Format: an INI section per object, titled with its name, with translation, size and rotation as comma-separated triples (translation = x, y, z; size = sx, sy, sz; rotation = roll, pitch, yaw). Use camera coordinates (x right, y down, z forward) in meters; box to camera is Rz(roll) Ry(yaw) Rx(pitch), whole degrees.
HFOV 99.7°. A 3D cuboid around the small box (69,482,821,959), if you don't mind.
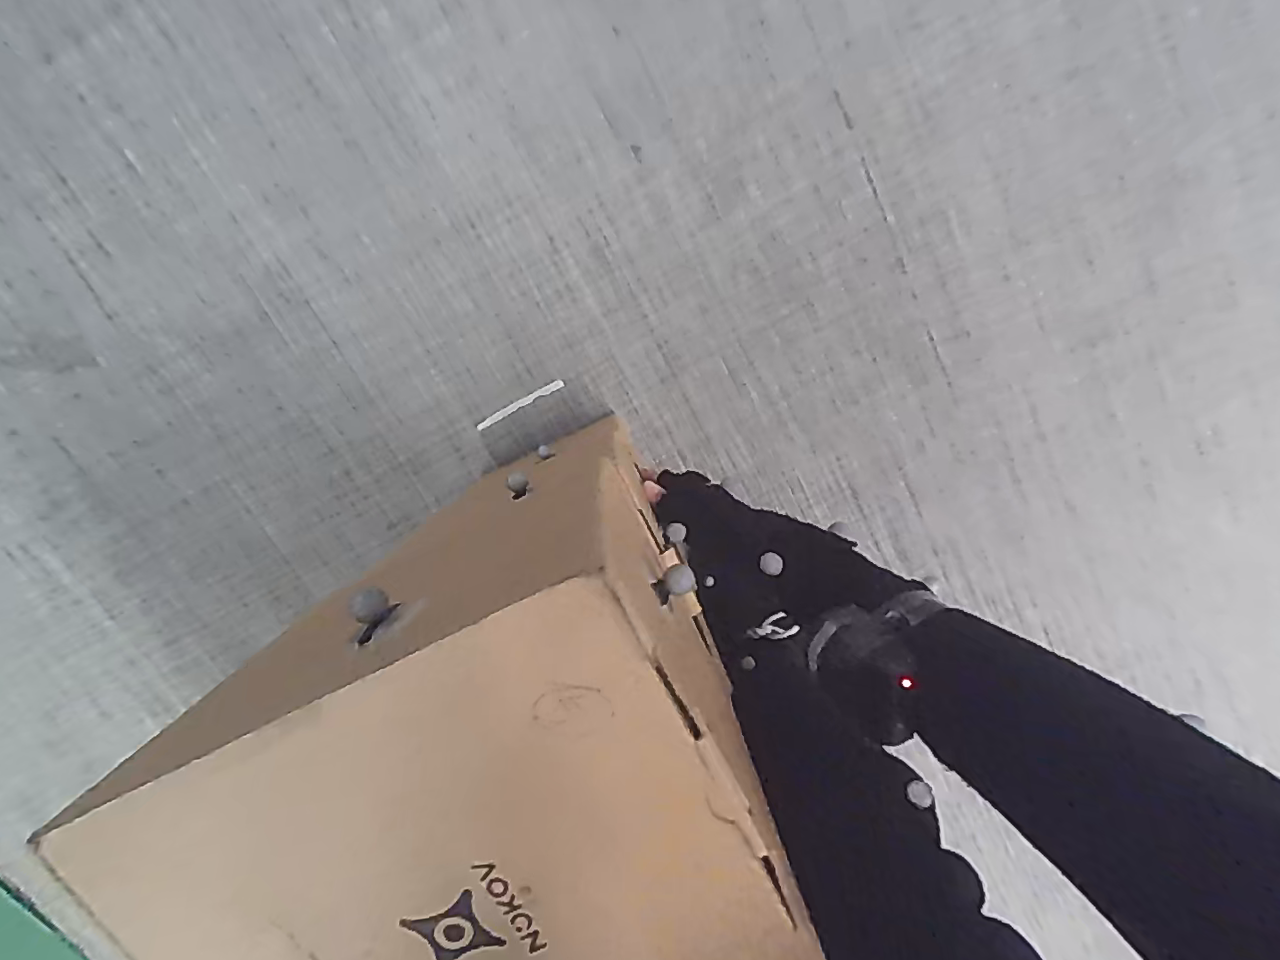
[small box]
translation = -0.055, 0.119, 0.244
size = 0.179, 0.176, 0.168
rotation = -27, 102, 4
